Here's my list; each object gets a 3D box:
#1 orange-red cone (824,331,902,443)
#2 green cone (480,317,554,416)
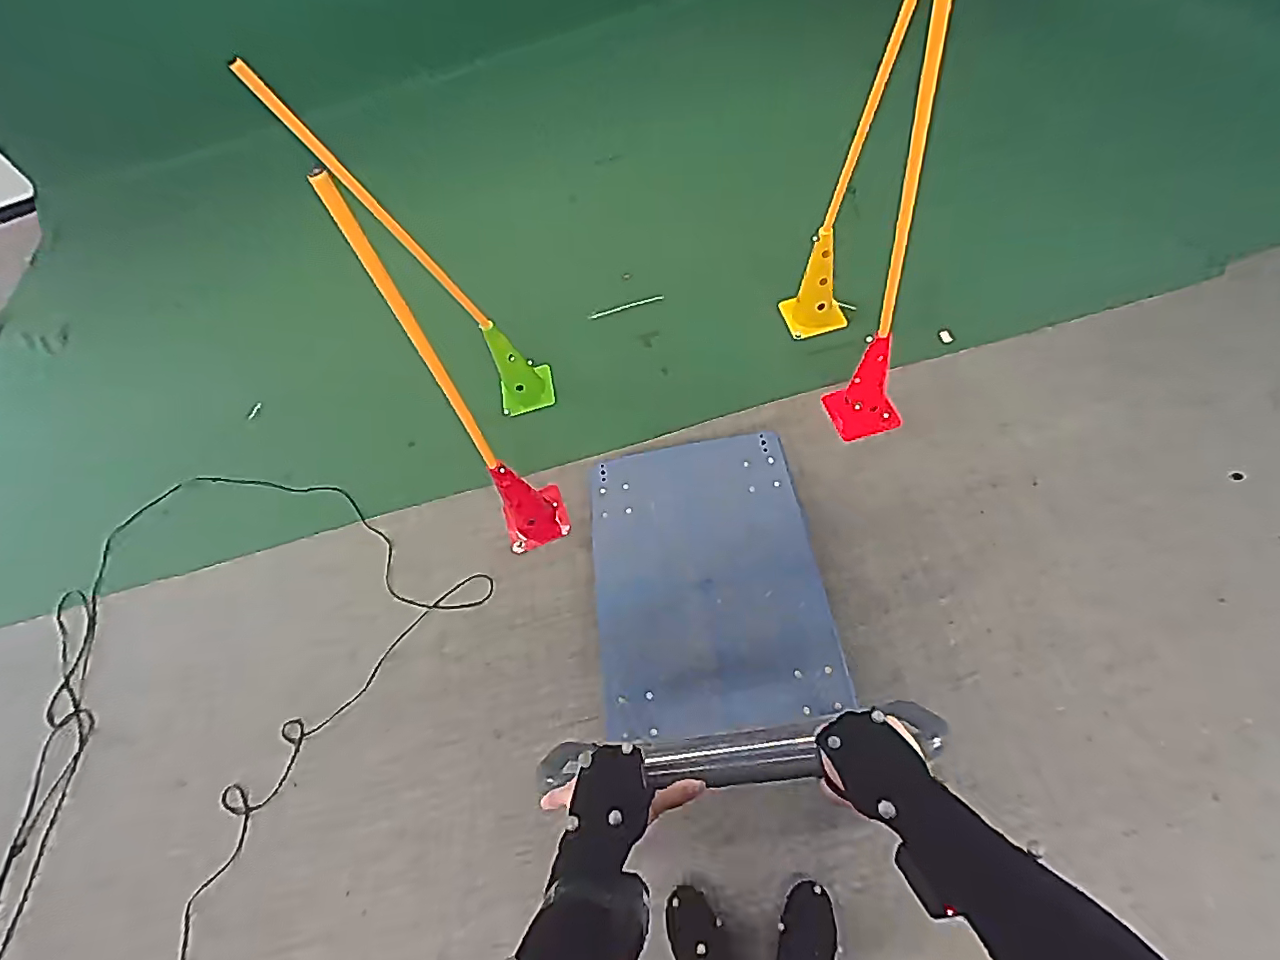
[{"bbox_3d":[0.688,-0.301,1.603,0.198,0.360,0.199,-15,57,2],"label":"orange-red cone"},{"bbox_3d":[-0.460,-0.421,1.893,0.200,0.368,0.202,-16,58,3],"label":"green cone"}]
